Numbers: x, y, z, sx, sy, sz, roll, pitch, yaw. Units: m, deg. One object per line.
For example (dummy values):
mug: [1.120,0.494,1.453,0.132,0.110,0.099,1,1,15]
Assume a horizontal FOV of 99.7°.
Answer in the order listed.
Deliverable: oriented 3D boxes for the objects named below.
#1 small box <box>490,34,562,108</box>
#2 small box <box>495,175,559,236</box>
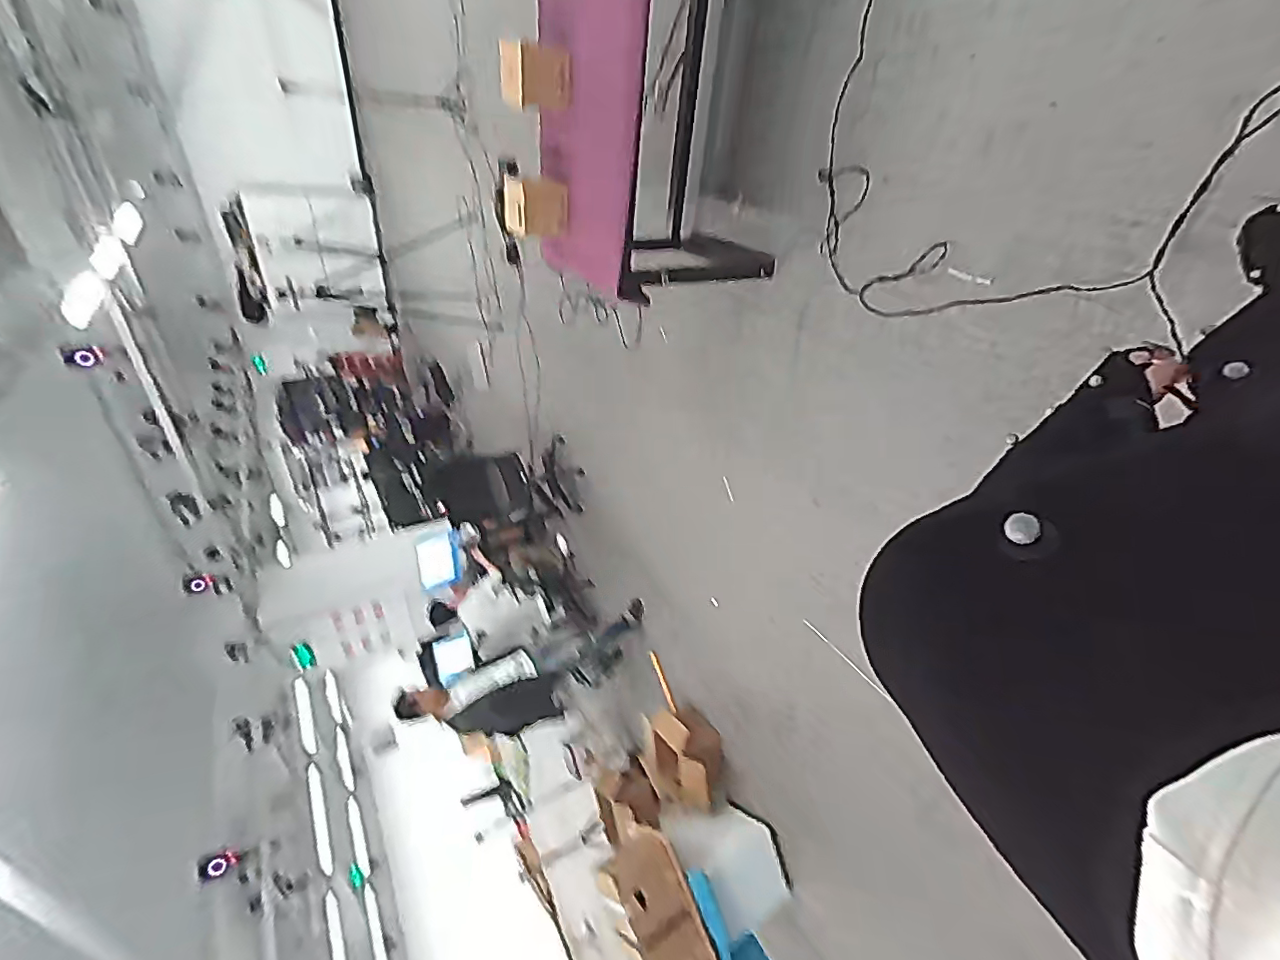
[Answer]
small box: [-0.363,-1.290,1.711,0.179,0.176,0.168,45,141,38]
small box: [-0.398,-0.976,1.919,0.179,0.176,0.168,44,139,40]
